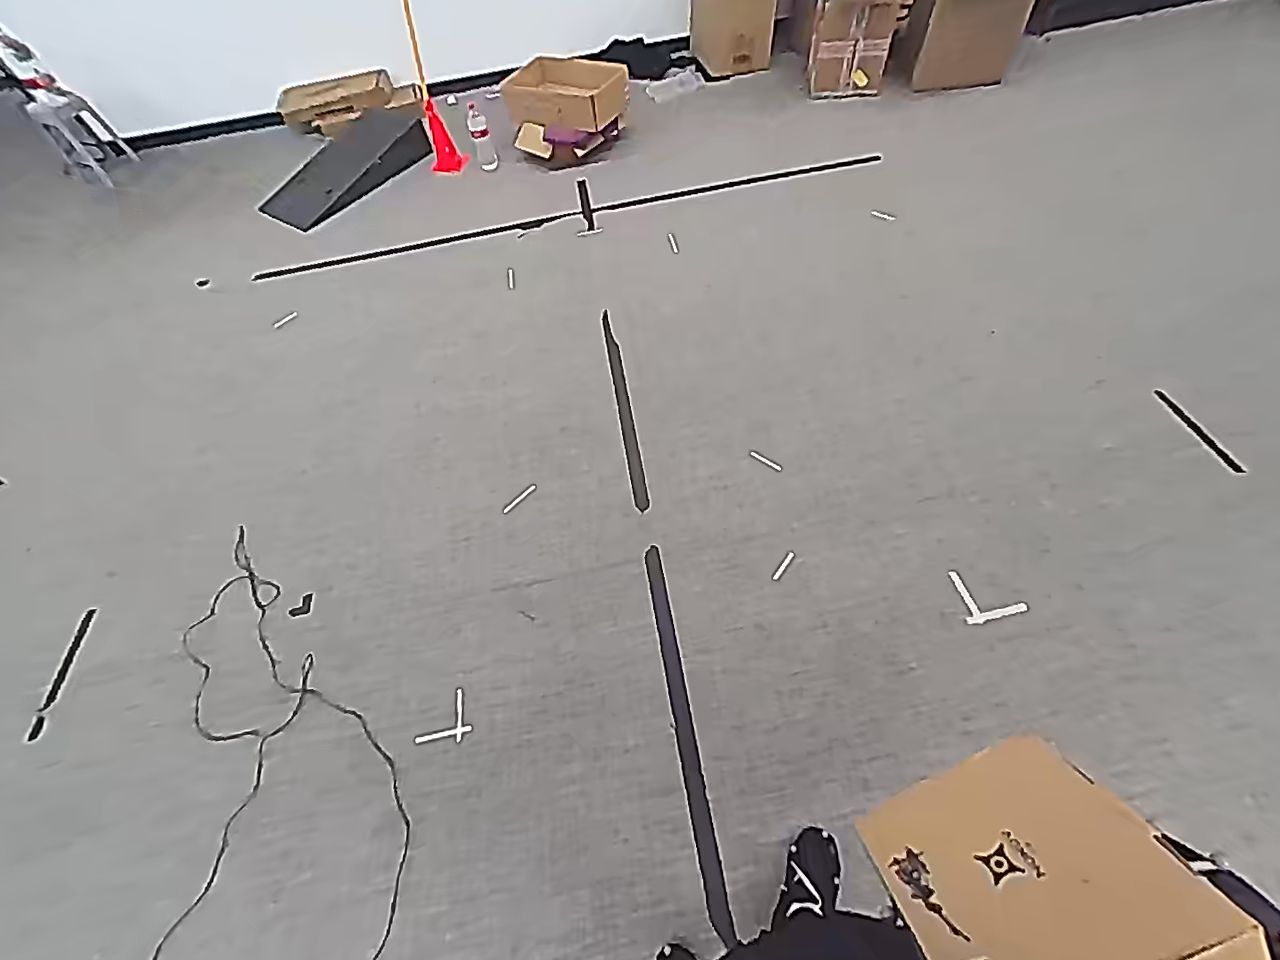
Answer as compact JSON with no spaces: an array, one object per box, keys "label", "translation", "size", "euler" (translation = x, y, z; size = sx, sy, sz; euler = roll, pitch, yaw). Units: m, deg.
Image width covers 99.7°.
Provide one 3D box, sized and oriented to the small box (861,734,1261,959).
[{"label":"small box","translation":[0.311,0.347,0.417],"size":[0.179,0.176,0.168],"euler":[-27,13,2]}]
